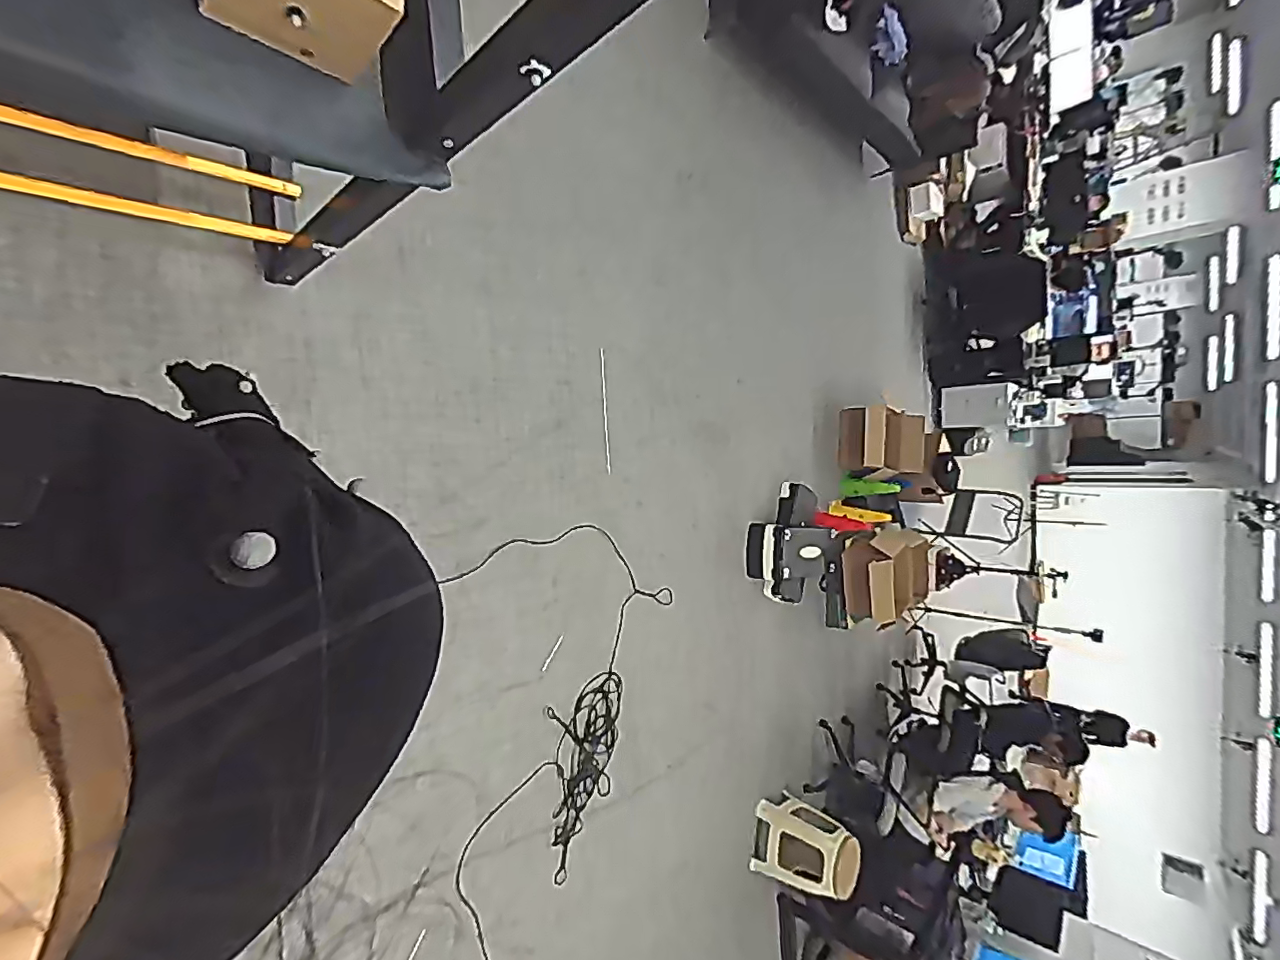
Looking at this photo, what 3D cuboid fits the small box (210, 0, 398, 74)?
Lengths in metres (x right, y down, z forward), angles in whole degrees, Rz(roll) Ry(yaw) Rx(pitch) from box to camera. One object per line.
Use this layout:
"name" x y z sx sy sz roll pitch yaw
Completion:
"small box" -0.392 -0.622 0.616 0.168 0.176 0.179 -2 91 -48
